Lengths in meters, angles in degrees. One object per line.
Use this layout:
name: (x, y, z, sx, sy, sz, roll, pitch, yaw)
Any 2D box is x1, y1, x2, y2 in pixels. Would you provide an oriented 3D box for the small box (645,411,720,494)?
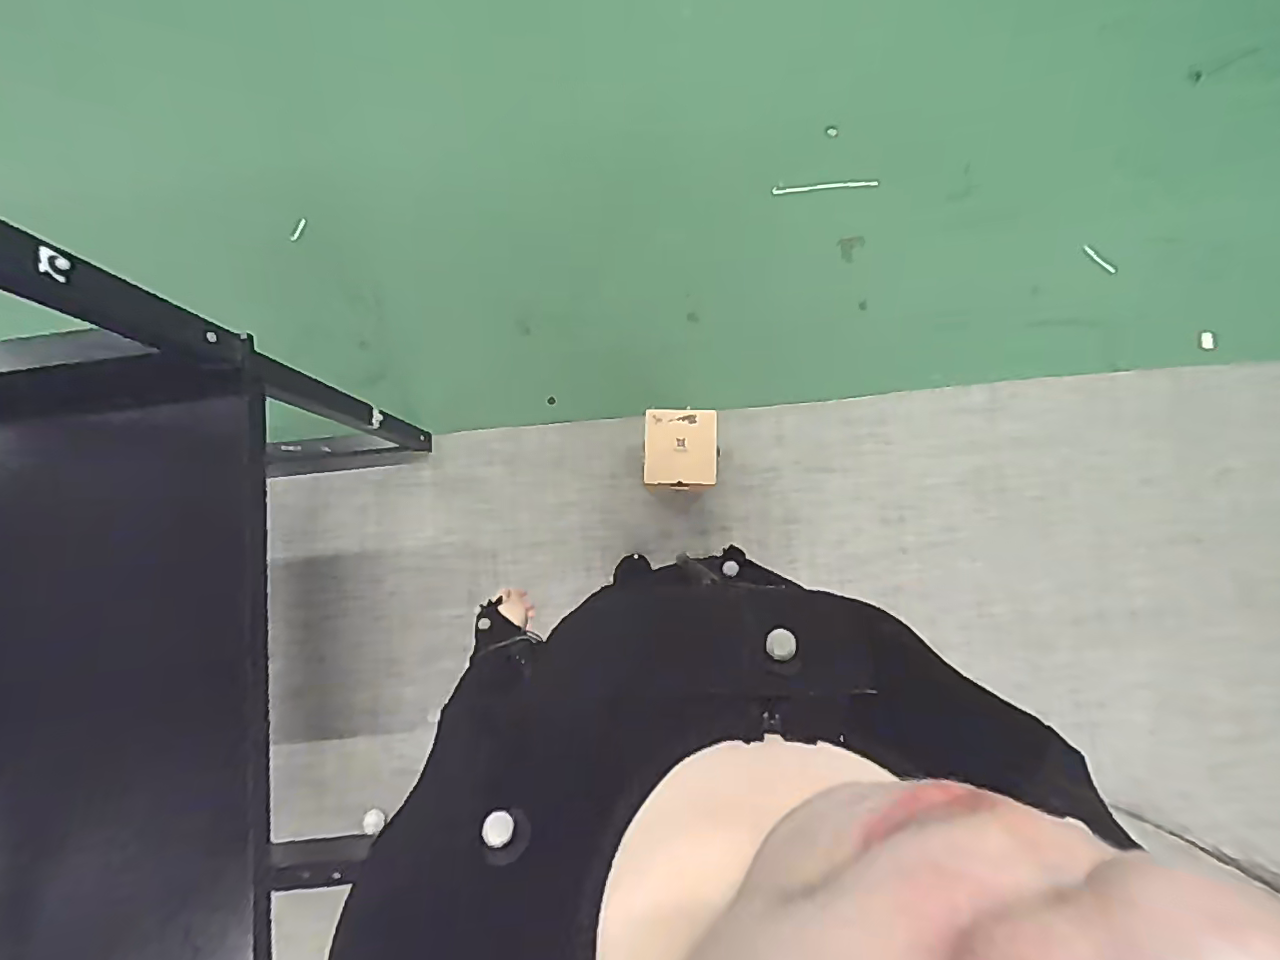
small box: (0.102, -0.059, 1.286, 0.168, 0.176, 0.179, 1, 83, 3)
